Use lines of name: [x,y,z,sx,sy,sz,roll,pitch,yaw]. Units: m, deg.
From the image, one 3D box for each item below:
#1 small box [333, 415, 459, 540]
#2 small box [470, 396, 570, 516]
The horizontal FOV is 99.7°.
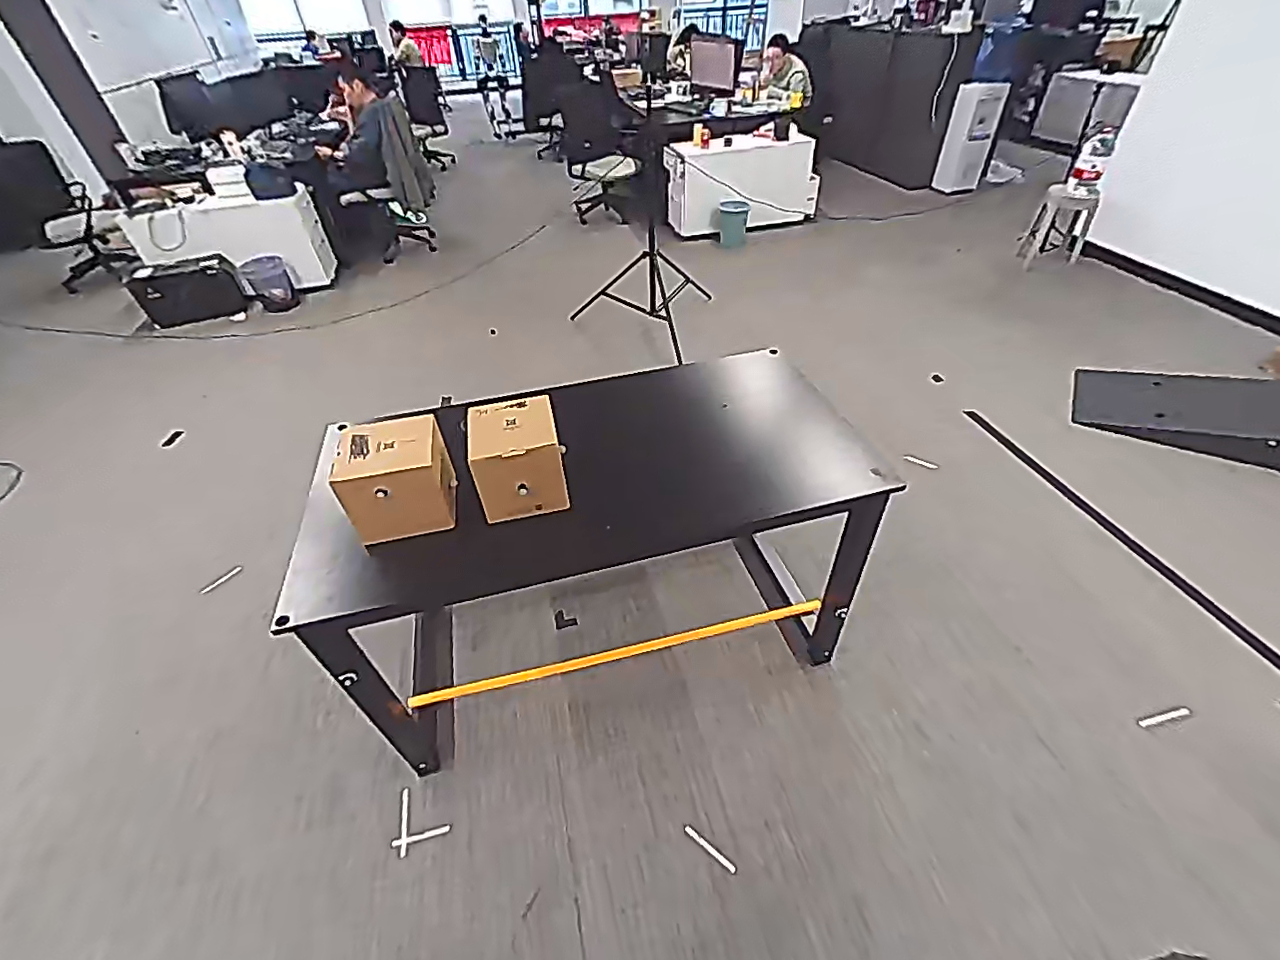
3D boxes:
small box: [-0.469,-0.003,1.068,0.179,0.176,0.168,-11,43,-9]
small box: [-0.241,-0.043,1.099,0.168,0.176,0.179,-11,43,-8]
